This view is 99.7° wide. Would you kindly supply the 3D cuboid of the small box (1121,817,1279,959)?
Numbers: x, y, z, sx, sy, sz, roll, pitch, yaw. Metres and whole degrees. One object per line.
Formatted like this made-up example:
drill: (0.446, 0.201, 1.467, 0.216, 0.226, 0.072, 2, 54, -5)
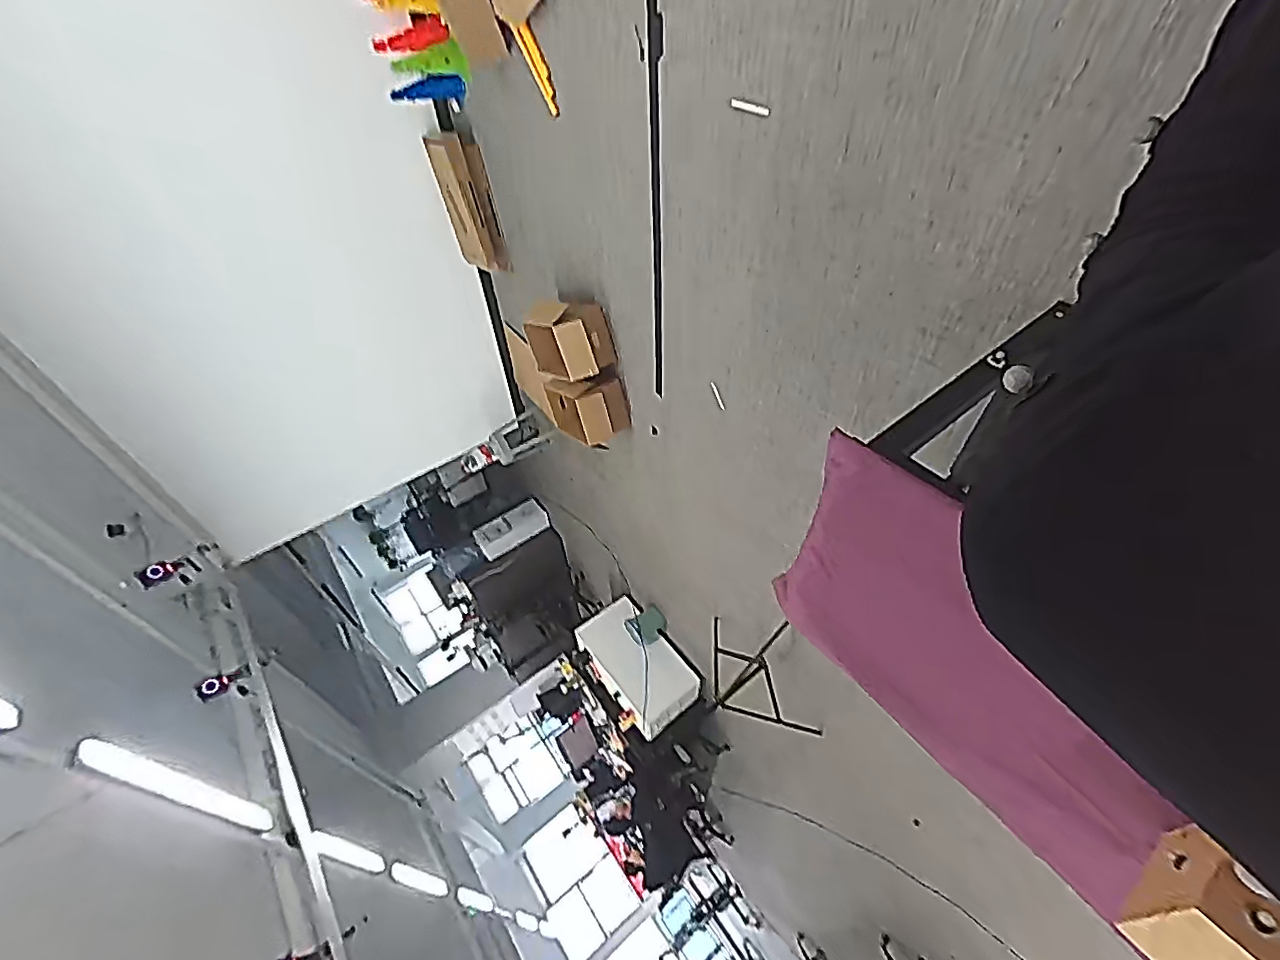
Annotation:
small box: (0.735, 0.529, 0.627, 0.179, 0.176, 0.168, 42, 153, 37)
